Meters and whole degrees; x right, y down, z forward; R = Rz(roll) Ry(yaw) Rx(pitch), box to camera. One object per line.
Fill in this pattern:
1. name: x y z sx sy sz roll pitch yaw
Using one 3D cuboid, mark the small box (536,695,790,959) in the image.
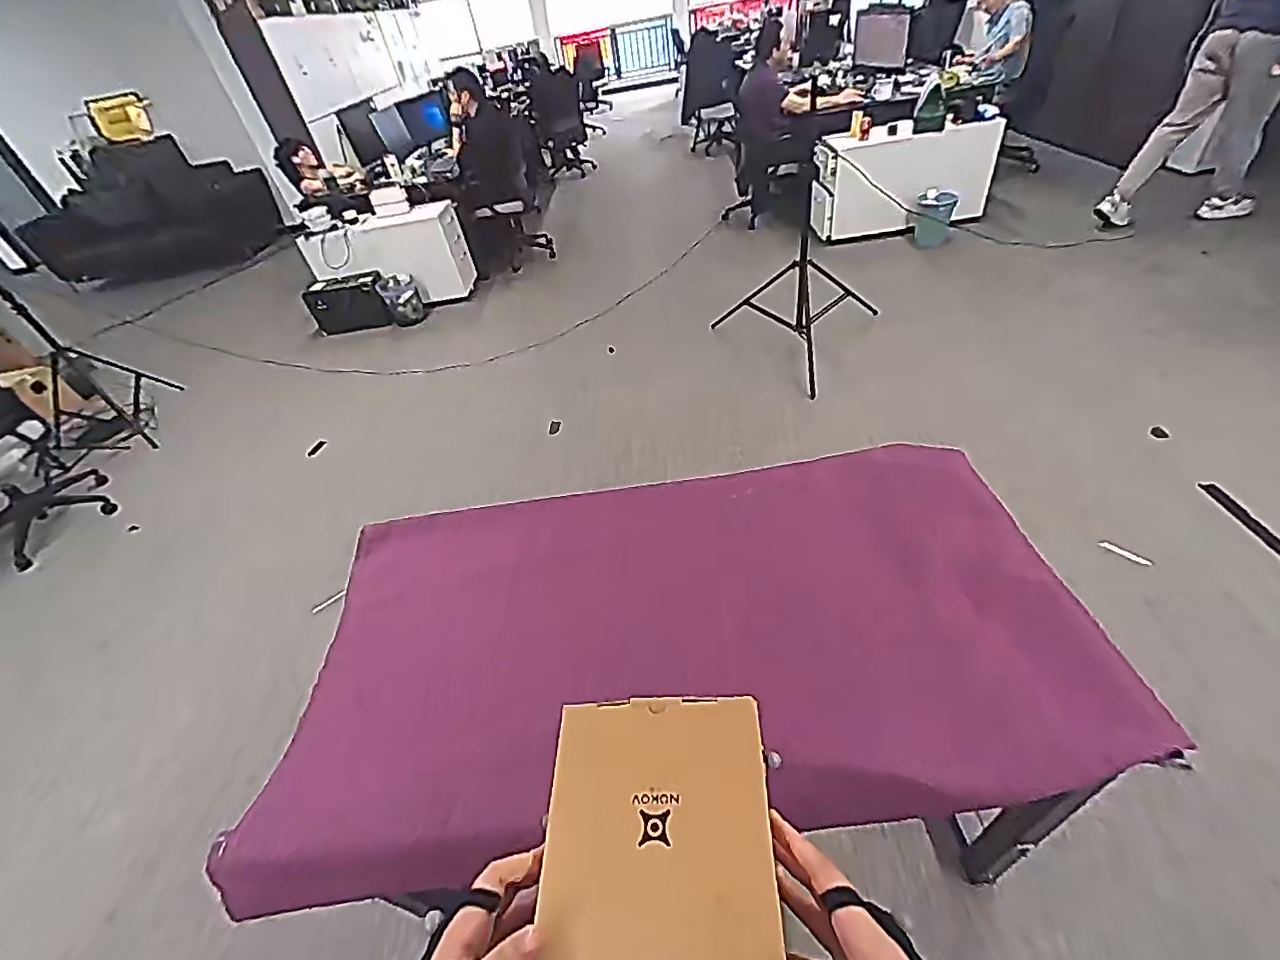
1. small box: 0.030 0.302 0.451 0.168 0.176 0.179 -7 44 9
